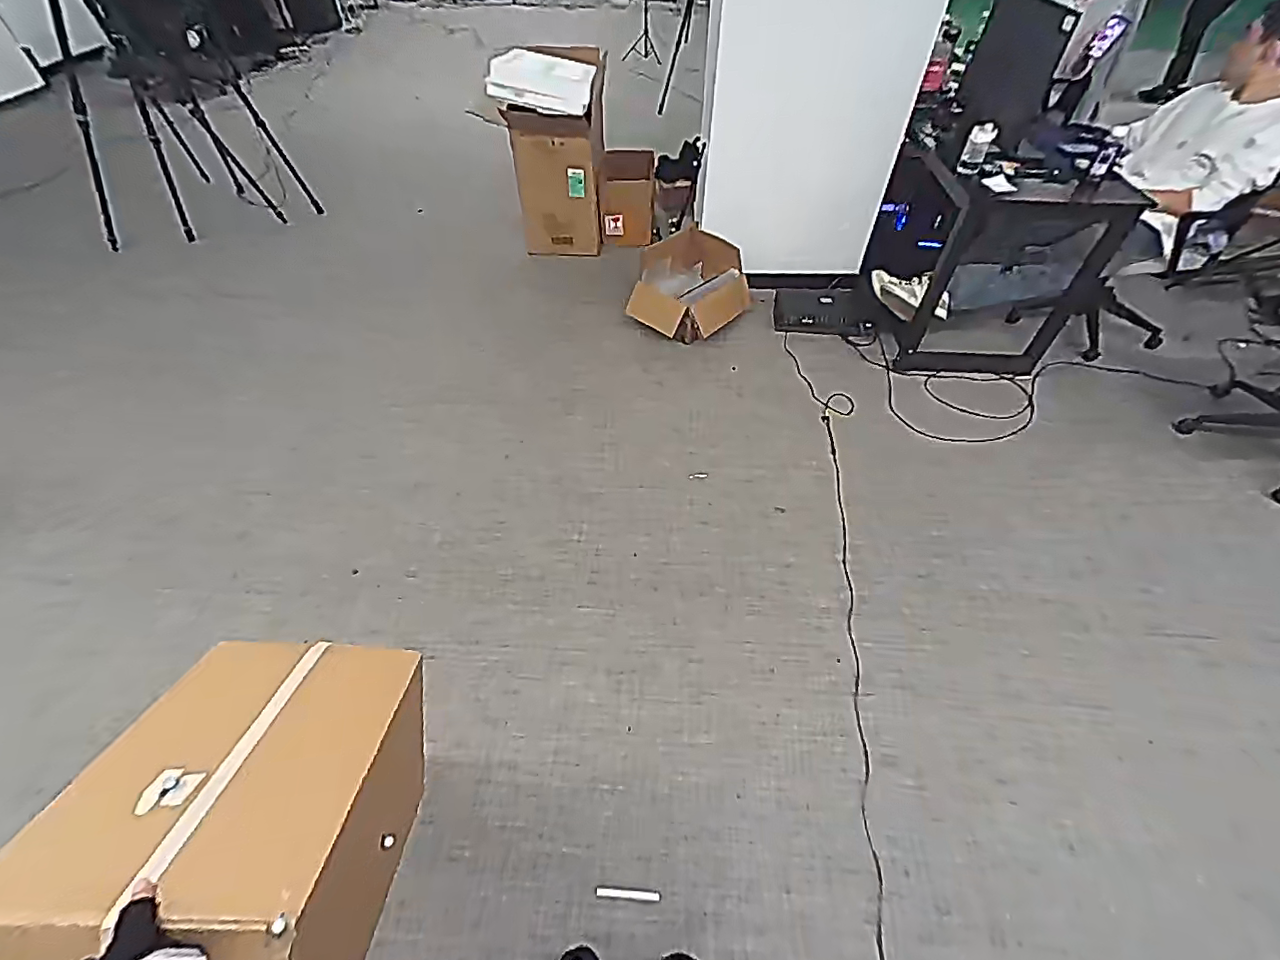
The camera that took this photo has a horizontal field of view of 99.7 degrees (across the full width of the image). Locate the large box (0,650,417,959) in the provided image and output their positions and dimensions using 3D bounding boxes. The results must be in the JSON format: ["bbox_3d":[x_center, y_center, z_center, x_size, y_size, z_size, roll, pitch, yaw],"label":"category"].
[{"bbox_3d":[-0.523,0.495,0.748,0.320,0.320,0.408,5,20,-6],"label":"large box"}]
